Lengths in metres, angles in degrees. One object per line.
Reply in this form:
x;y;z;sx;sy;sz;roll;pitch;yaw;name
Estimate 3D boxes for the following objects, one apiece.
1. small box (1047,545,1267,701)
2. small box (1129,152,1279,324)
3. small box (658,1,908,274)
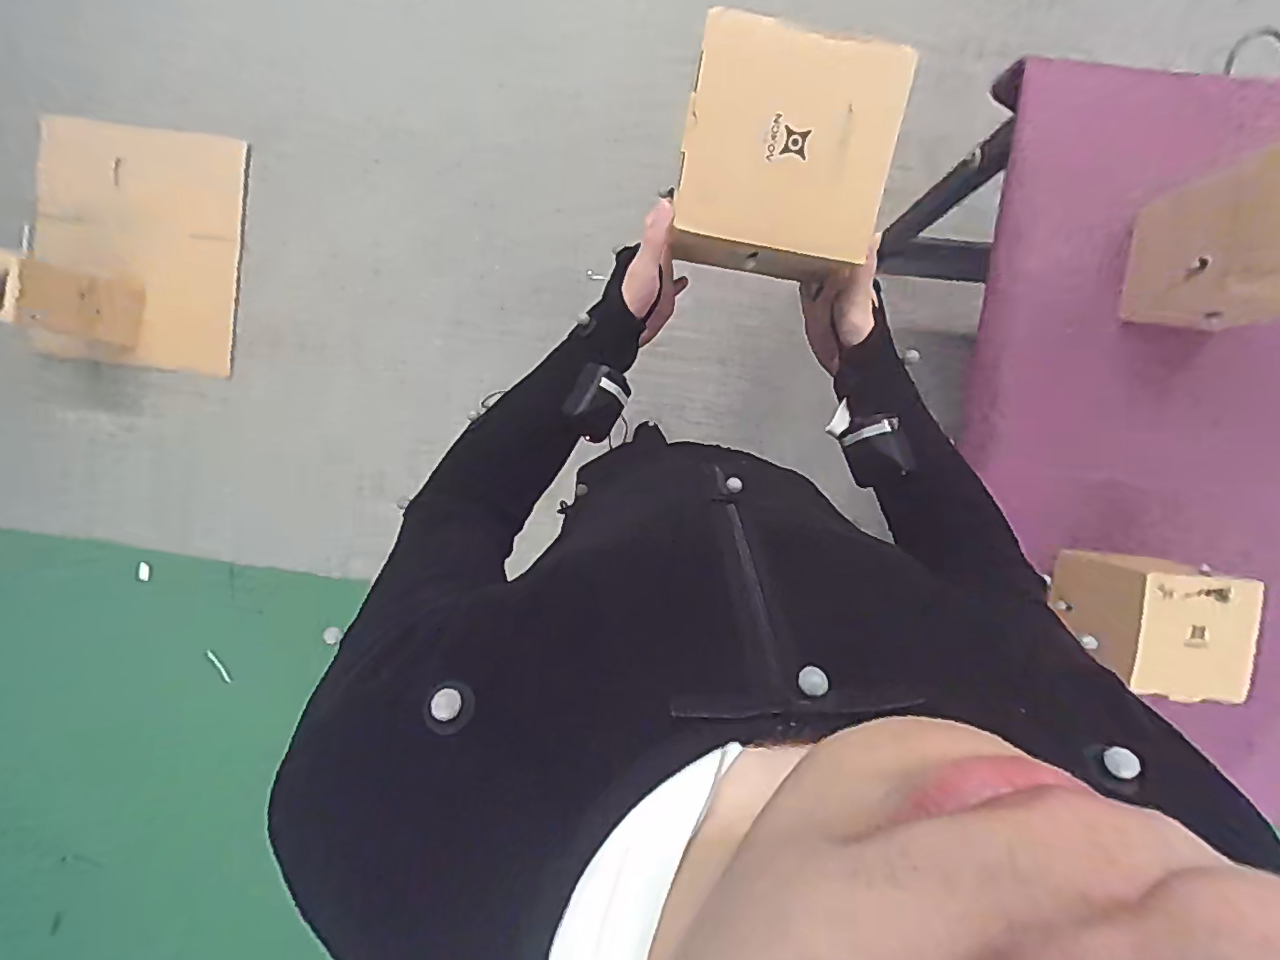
0.773;0.209;0.831;0.168;0.176;0.179;6;95;0;small box
0.871;-0.335;0.785;0.168;0.176;0.179;8;95;0;small box
0.116;-0.307;0.527;0.179;0.176;0.168;10;105;-3;small box
